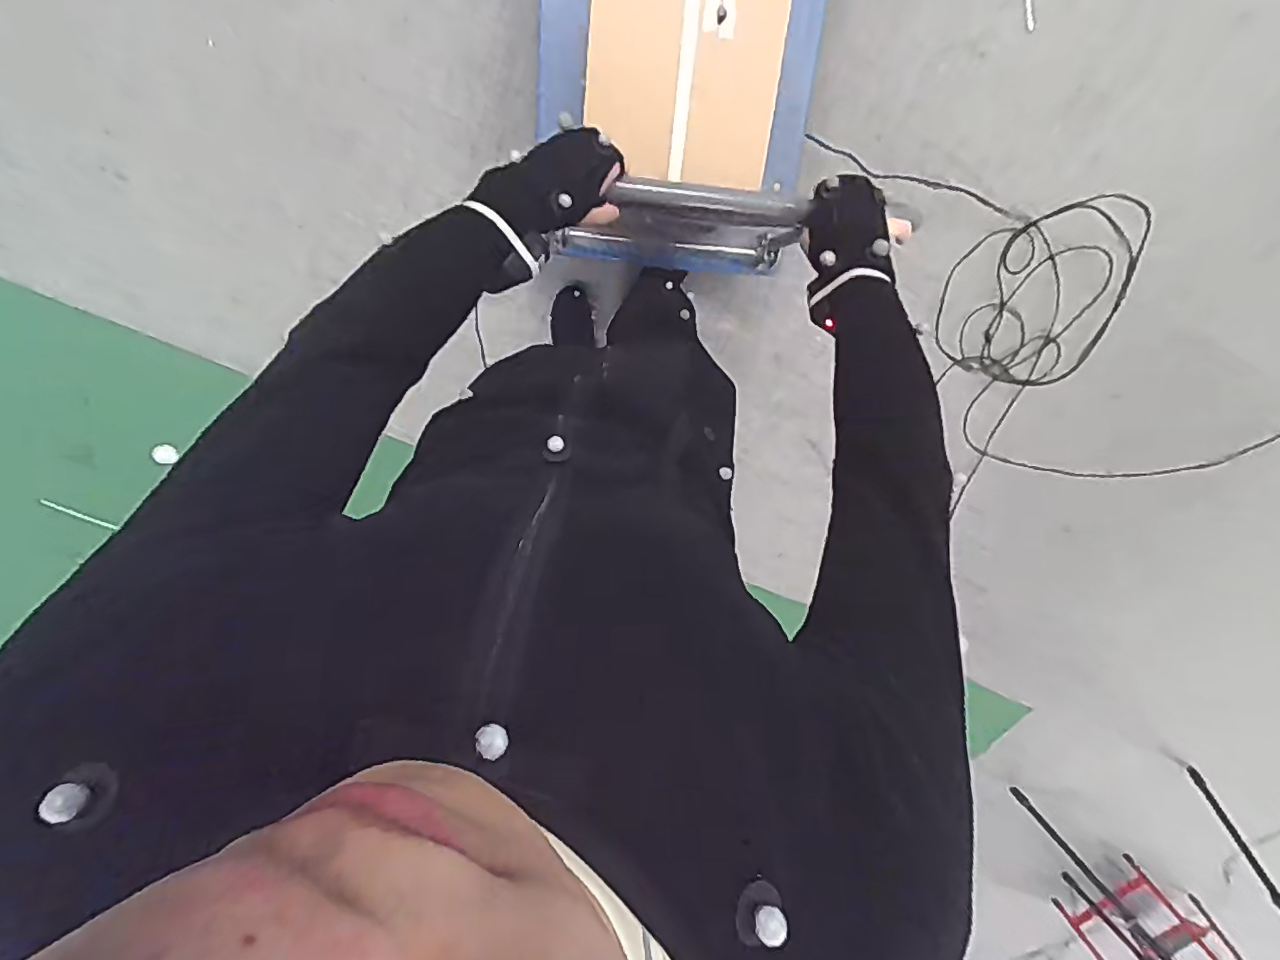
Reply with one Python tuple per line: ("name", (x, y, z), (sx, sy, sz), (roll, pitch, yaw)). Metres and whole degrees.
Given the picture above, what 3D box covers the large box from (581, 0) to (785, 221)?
("large box", (0.062, -0.732, 1.016), (0.320, 0.320, 0.408), (4, 110, -5))
